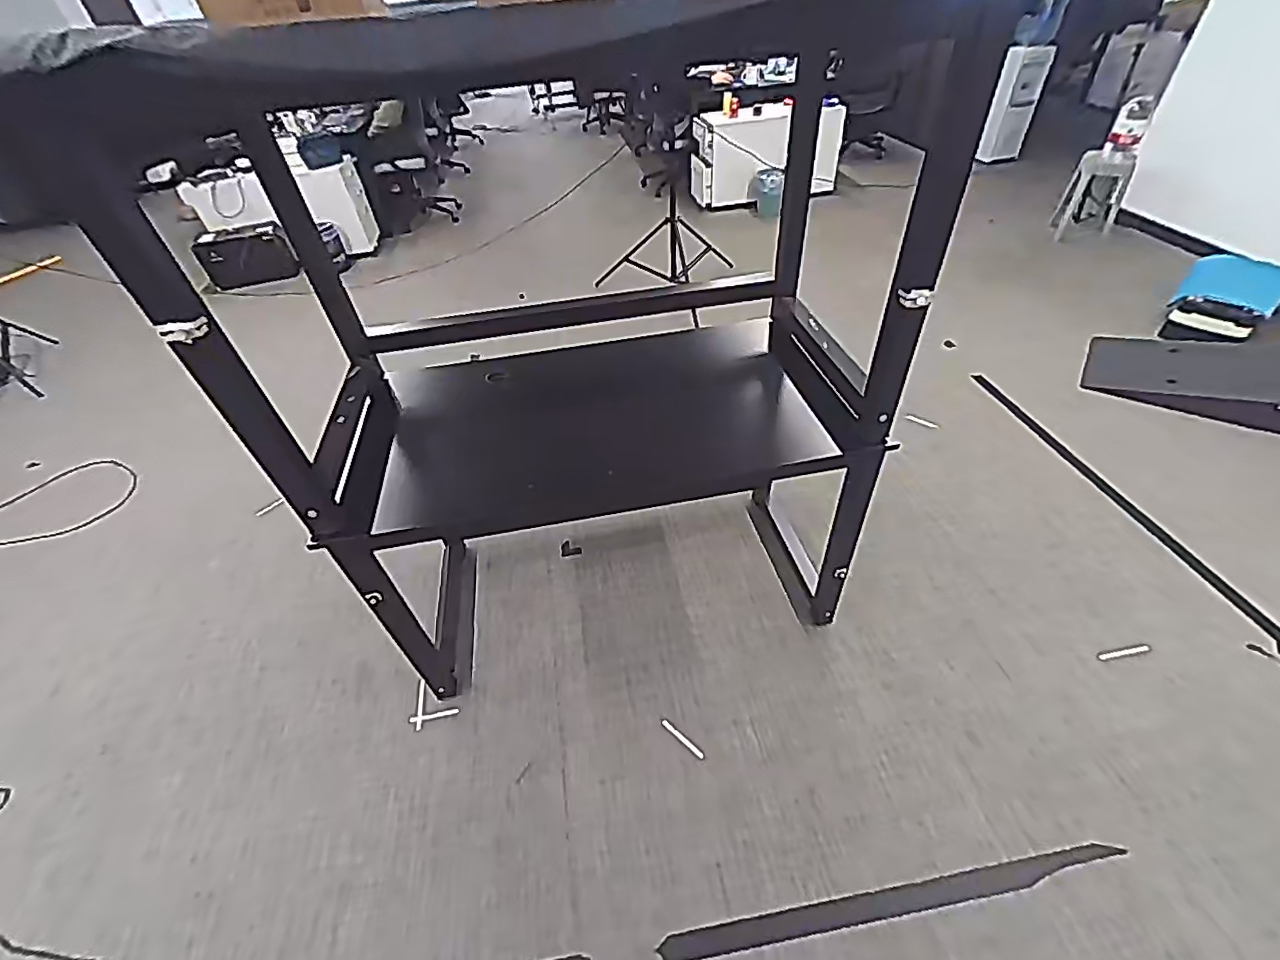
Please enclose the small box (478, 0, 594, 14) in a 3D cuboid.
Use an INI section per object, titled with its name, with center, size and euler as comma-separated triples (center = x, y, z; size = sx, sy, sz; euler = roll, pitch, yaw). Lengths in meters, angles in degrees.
[small box]
center = -0.122, -0.658, 0.623
size = 0.168, 0.176, 0.179
euler = -9, 42, -4
